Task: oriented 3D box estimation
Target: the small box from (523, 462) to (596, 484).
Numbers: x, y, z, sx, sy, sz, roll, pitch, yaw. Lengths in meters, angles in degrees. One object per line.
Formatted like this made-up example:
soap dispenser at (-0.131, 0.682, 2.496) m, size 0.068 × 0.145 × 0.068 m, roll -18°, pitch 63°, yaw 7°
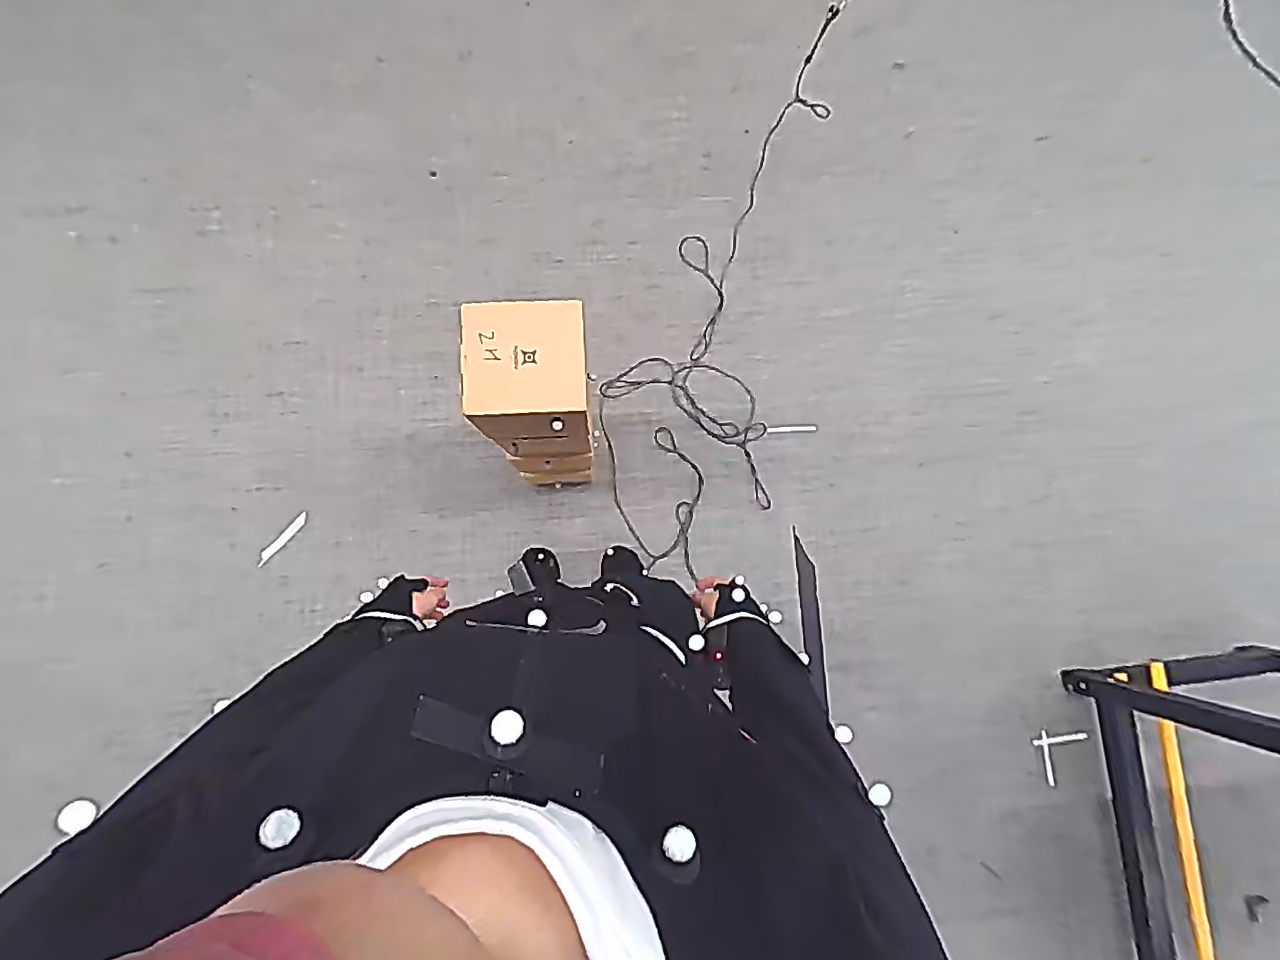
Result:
small box at (-0.194, -0.087, 1.329) m, size 0.168 × 0.176 × 0.179 m, roll -3°, pitch 84°, yaw -3°

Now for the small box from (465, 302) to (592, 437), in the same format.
small box at (-0.164, -0.164, 0.843) m, size 0.179 × 0.176 × 0.168 m, roll -2°, pitch 83°, yaw -3°

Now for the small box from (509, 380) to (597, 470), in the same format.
small box at (-0.183, -0.115, 1.169) m, size 0.179 × 0.176 × 0.168 m, roll -3°, pitch 84°, yaw -3°
